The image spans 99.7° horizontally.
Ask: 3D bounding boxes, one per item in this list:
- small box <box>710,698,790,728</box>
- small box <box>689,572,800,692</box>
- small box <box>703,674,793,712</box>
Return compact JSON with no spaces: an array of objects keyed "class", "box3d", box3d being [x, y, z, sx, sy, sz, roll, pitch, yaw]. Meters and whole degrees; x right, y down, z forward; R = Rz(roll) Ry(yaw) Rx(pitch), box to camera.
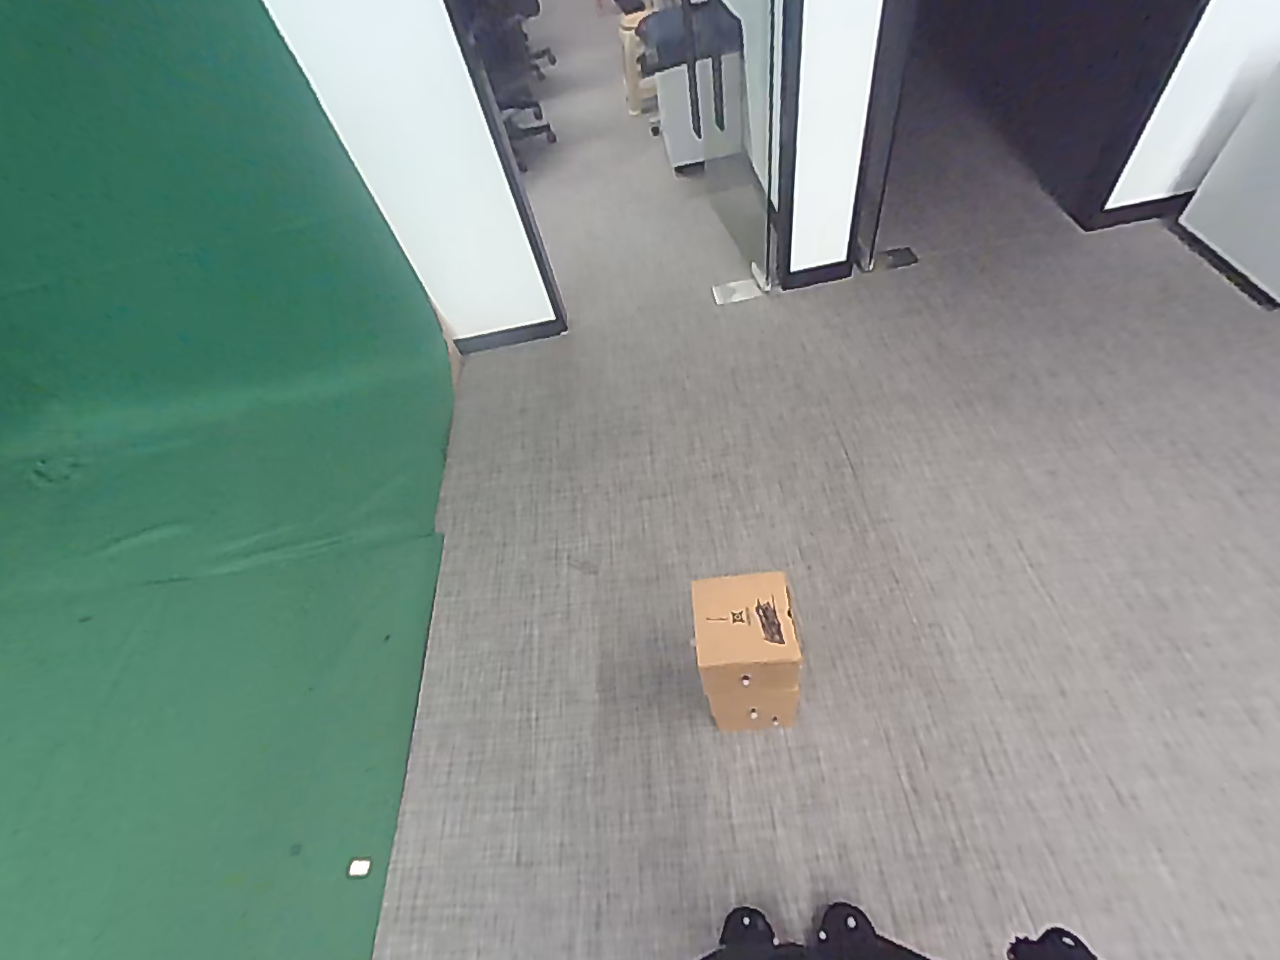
[{"class":"small box","box3d":[0.251,0.481,1.290,0.179,0.176,0.168,-9,52,7]},{"class":"small box","box3d":[0.192,0.293,1.027,0.179,0.176,0.168,-8,53,5]},{"class":"small box","box3d":[0.222,0.390,1.157,0.179,0.176,0.168,-5,53,8]}]
